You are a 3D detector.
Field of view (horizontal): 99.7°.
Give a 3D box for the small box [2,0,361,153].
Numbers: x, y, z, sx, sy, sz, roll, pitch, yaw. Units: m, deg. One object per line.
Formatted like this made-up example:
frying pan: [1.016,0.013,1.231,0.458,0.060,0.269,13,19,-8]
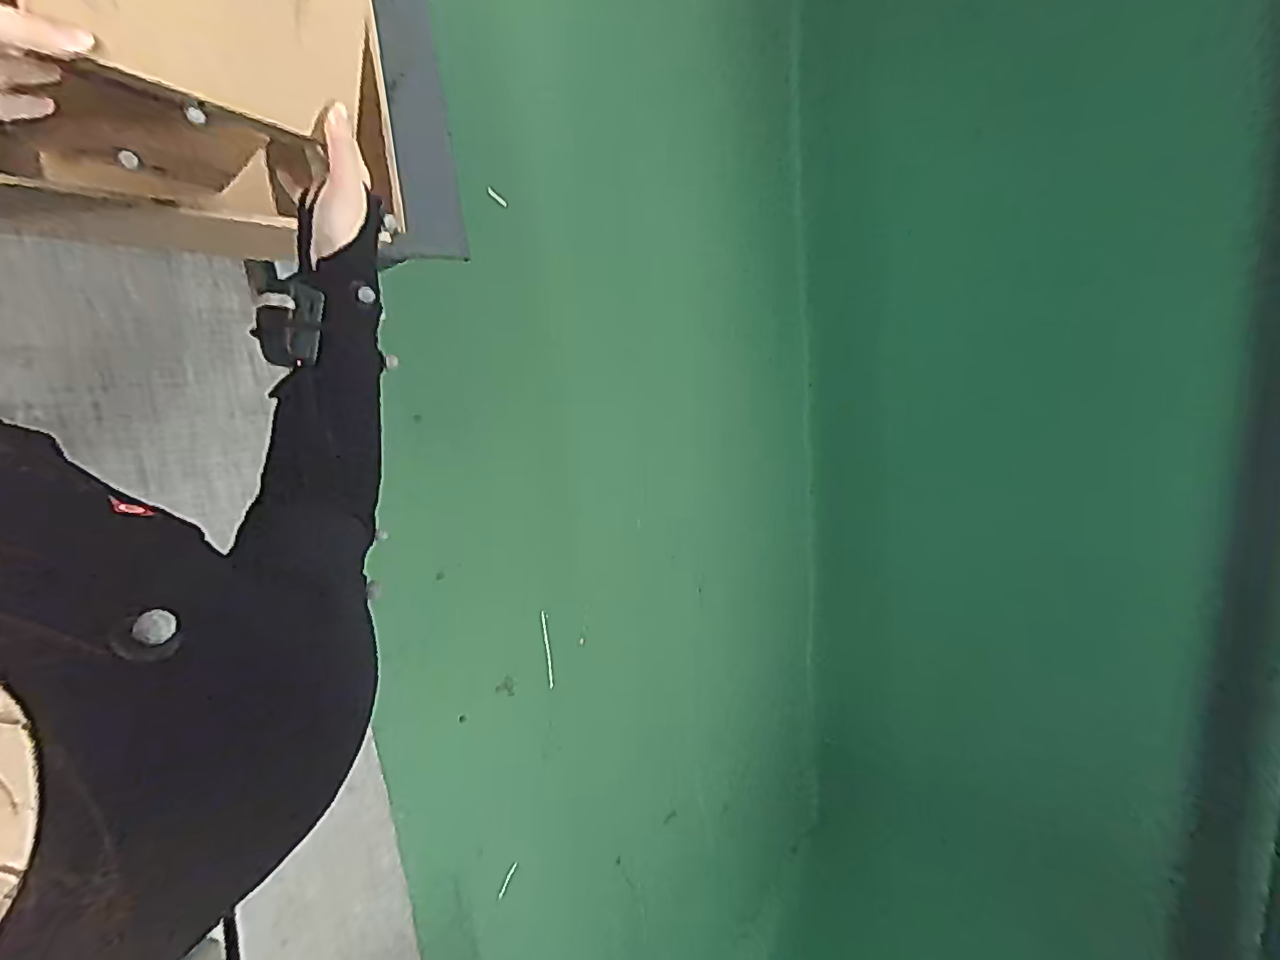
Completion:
small box: [-0.328,-0.363,0.389,0.179,0.176,0.168,-9,124,-51]
